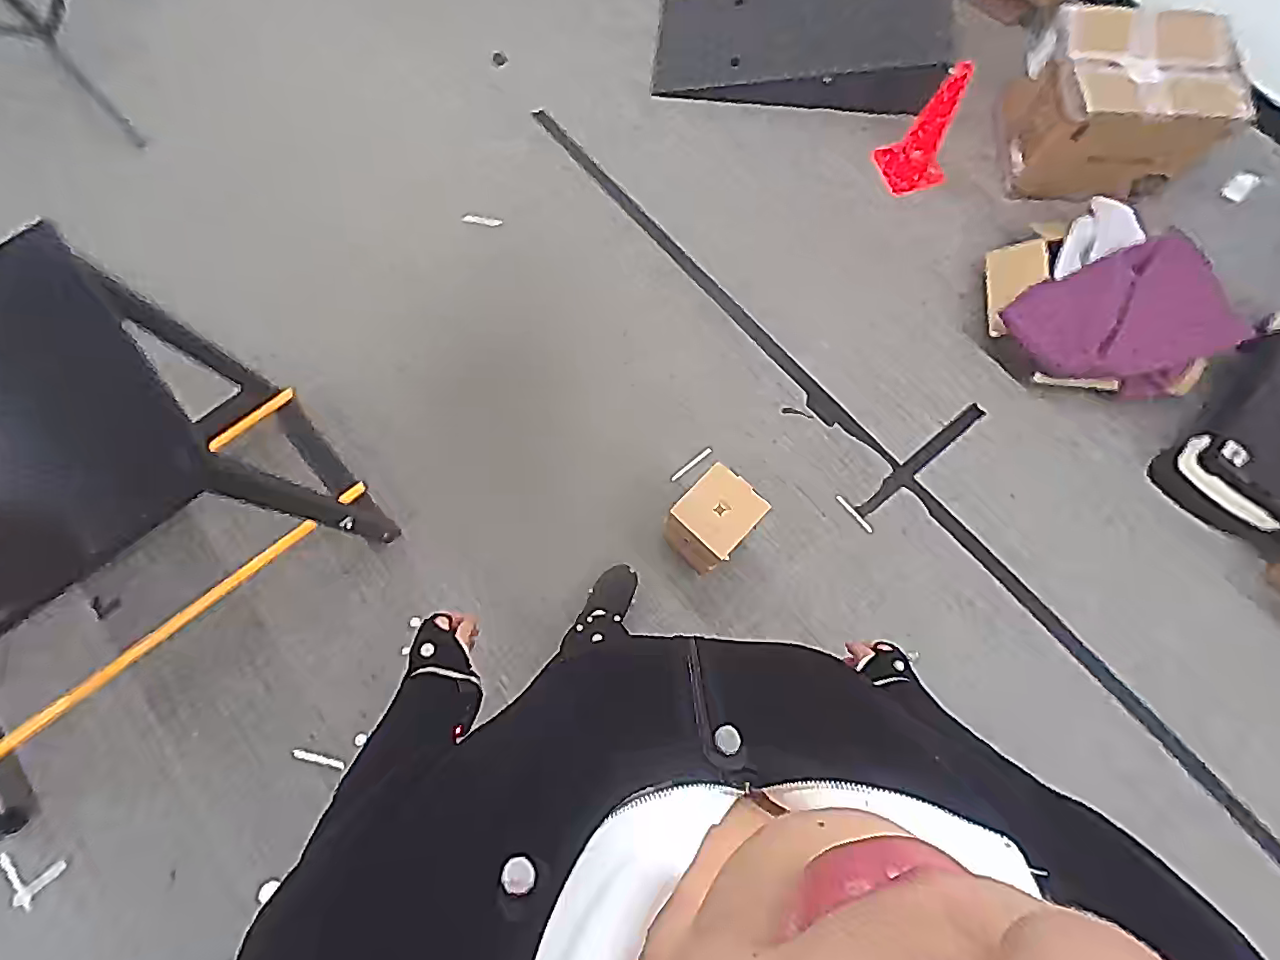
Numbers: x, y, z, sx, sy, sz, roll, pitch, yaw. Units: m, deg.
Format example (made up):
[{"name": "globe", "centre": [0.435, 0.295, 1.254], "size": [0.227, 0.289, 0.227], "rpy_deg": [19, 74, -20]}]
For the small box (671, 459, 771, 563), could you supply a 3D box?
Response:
[{"name": "small box", "centre": [0.187, 0.082, 1.318], "size": [0.168, 0.176, 0.179], "rpy_deg": [43, 81, 11]}]

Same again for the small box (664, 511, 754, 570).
[{"name": "small box", "centre": [0.178, 0.129, 1.474], "size": [0.168, 0.176, 0.179], "rpy_deg": [-42, 80, -10]}]
